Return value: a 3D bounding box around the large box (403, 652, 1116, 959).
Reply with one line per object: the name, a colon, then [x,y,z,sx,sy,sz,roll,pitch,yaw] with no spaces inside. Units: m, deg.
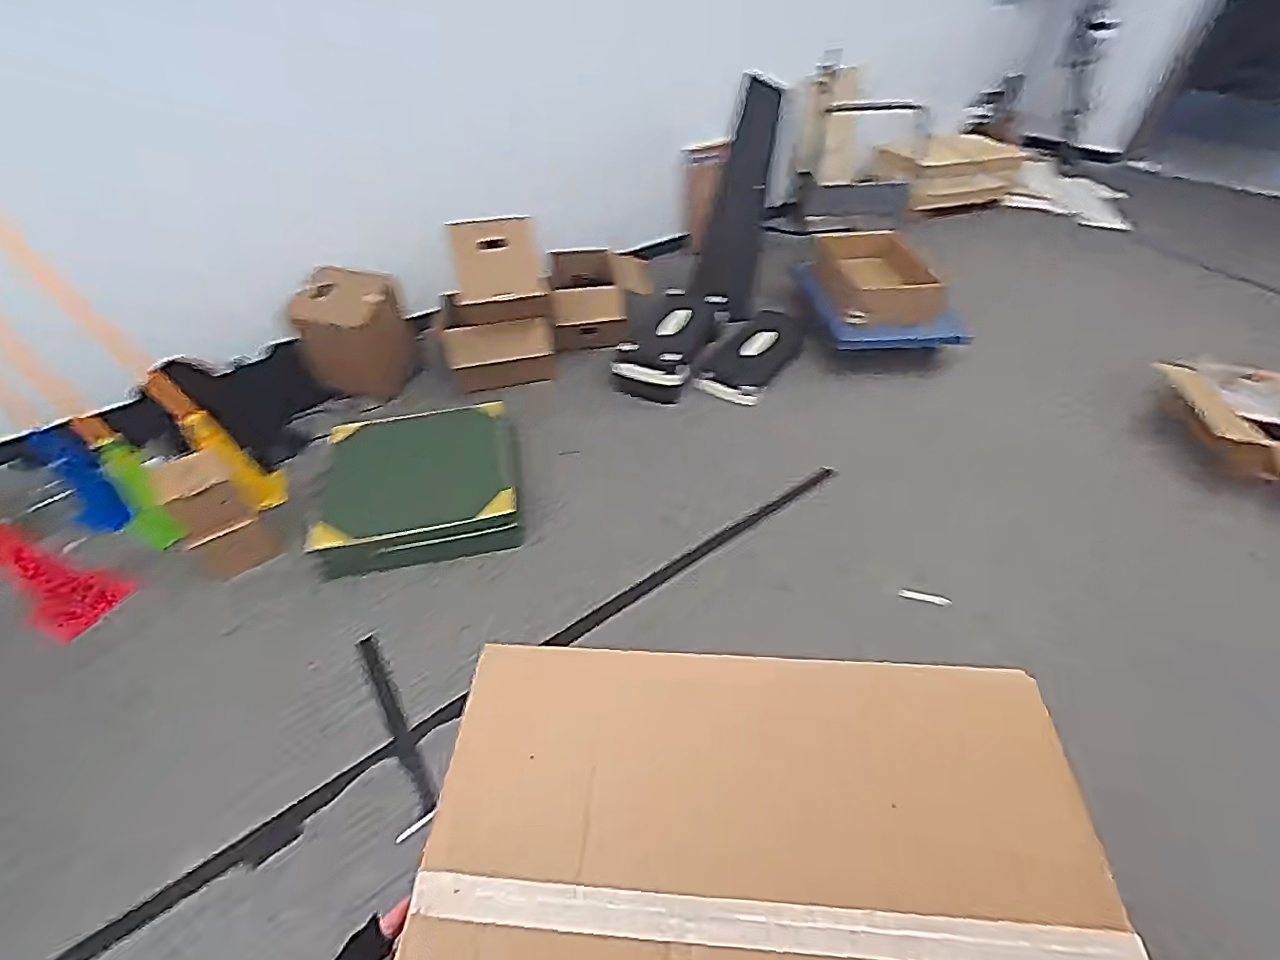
large box: [0.074,0.347,0.429,0.408,0.320,0.320,0,48,5]
